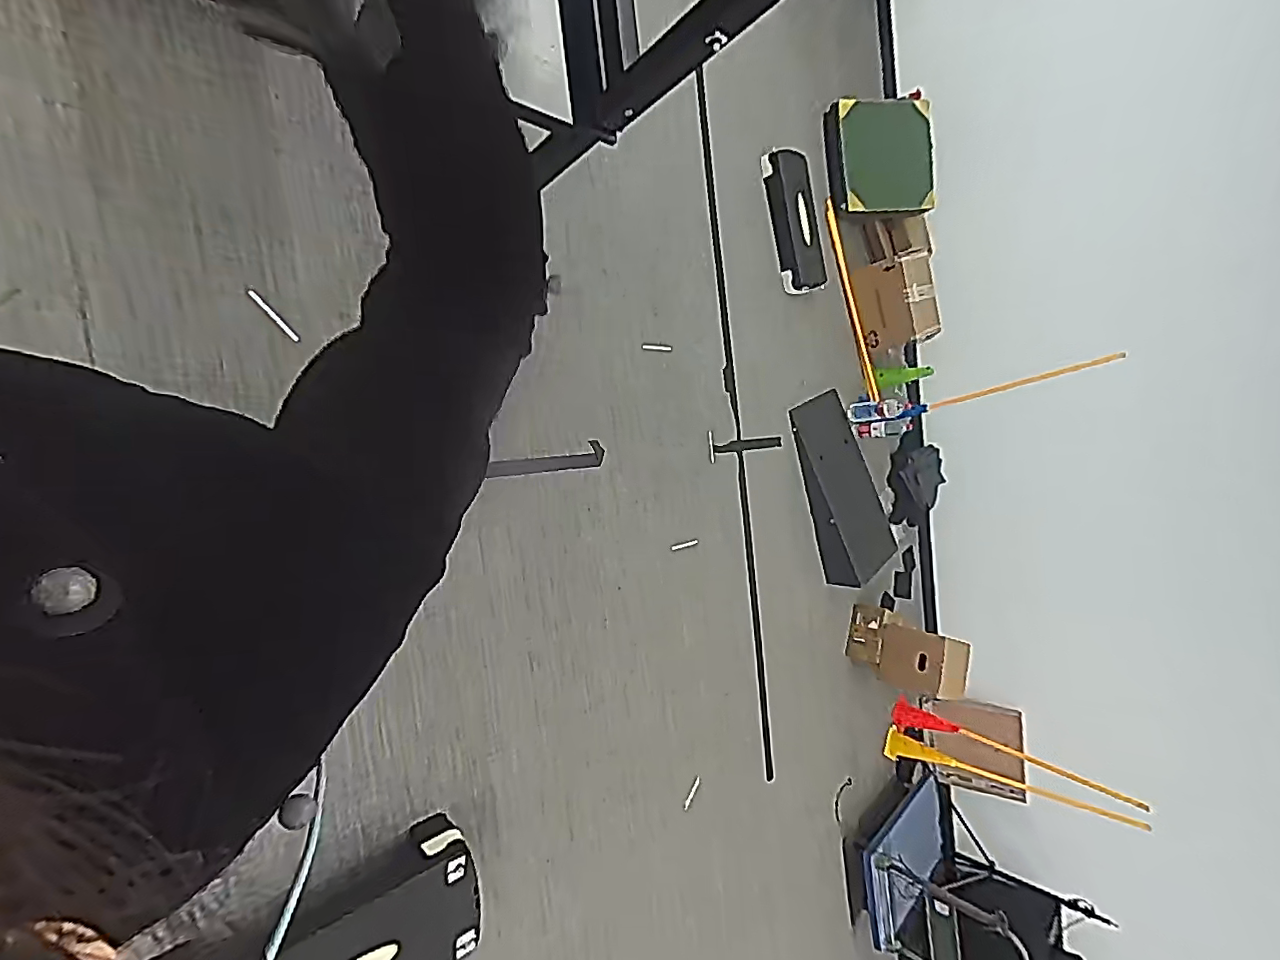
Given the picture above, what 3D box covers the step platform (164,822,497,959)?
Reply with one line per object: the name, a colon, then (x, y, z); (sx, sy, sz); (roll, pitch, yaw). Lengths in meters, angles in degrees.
step platform: (-0.678, 1.104, 1.261); (0.684, 0.204, 0.286); (-1, 89, -42)
